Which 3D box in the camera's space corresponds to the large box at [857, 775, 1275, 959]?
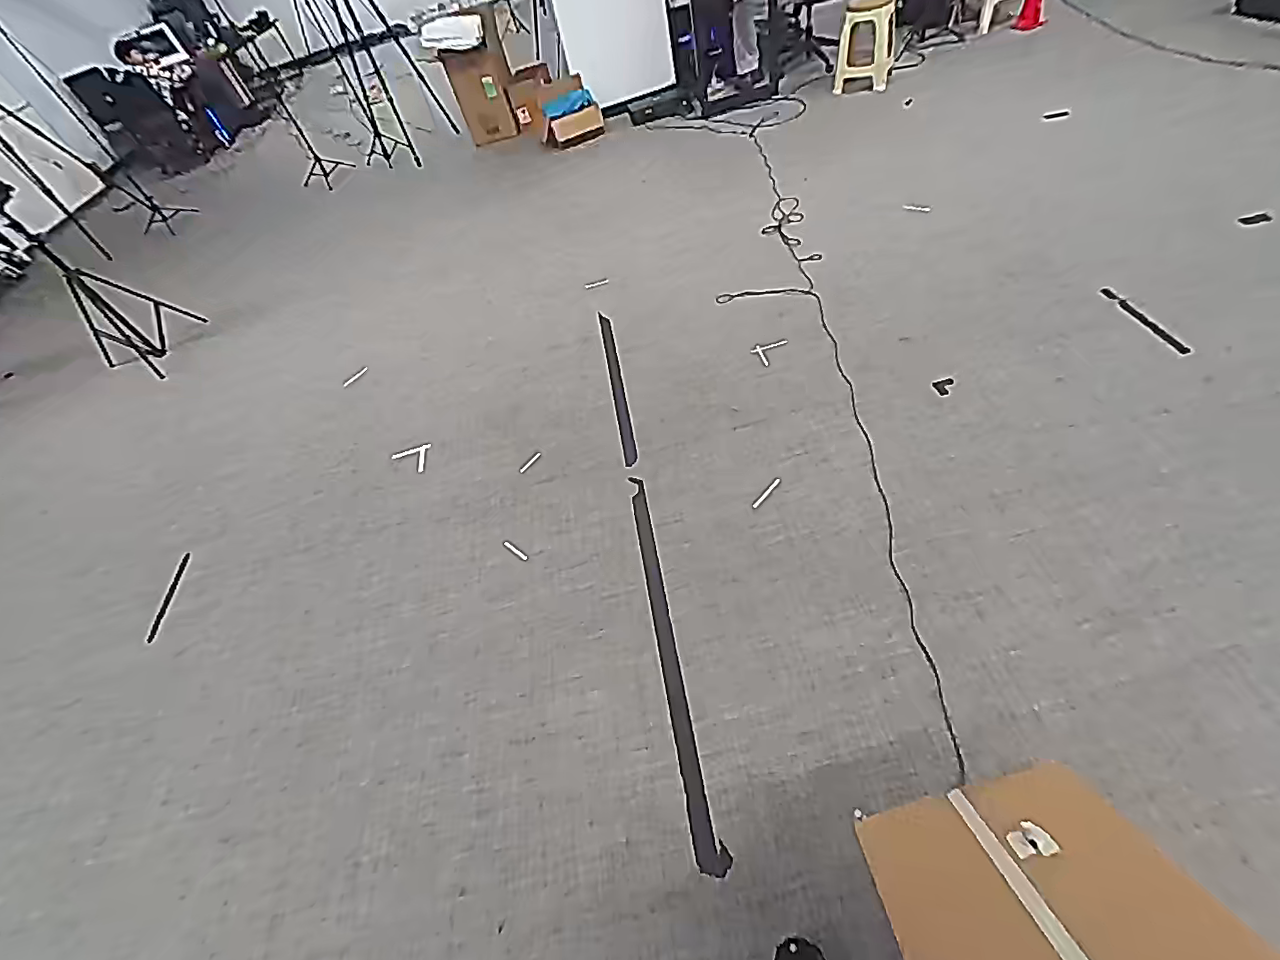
[{"bbox_3d":[0.506,0.631,0.620,0.320,0.408,0.320,-21,86,8],"label":"large box"}]
